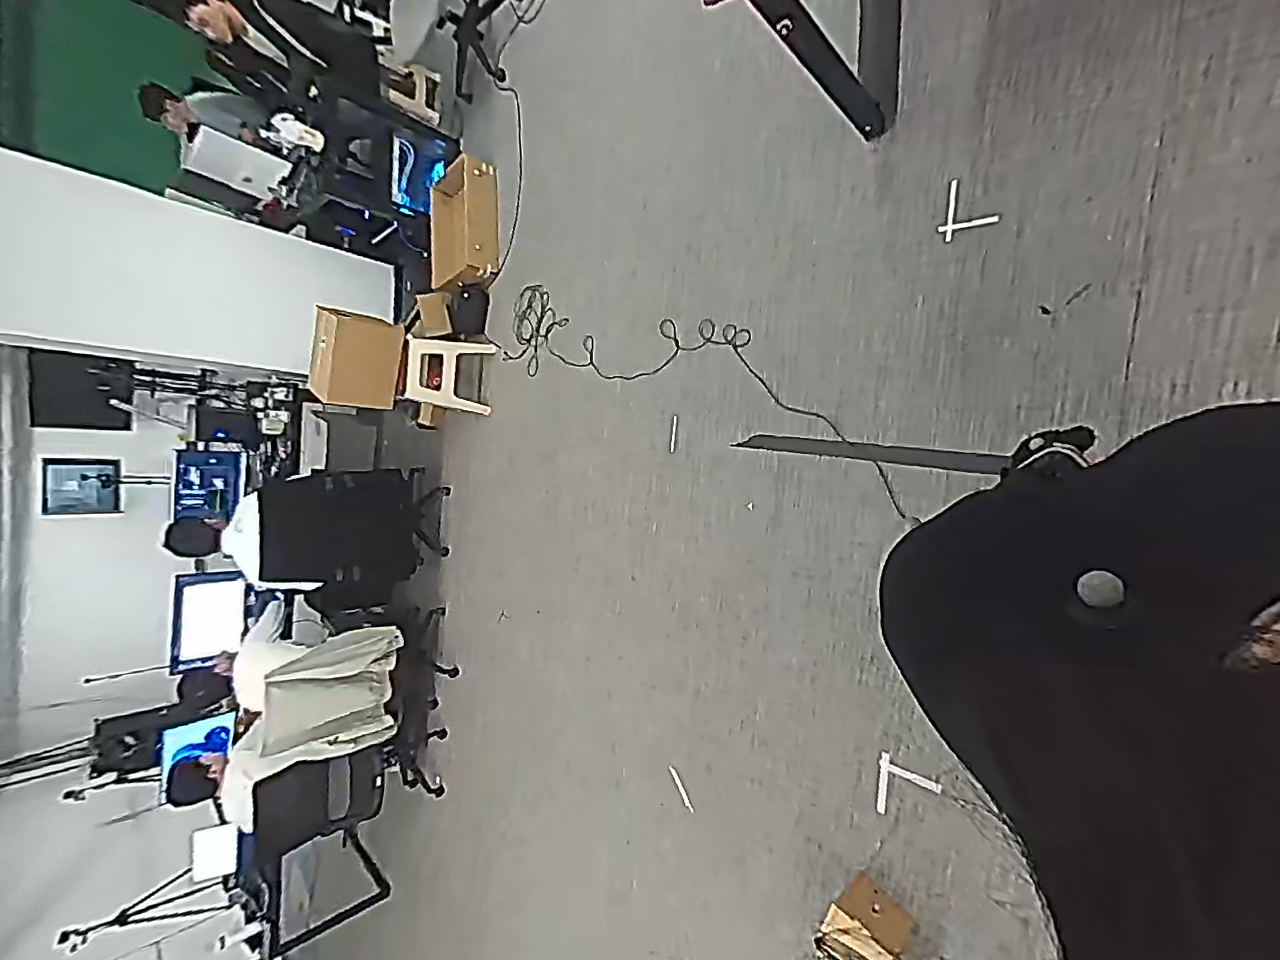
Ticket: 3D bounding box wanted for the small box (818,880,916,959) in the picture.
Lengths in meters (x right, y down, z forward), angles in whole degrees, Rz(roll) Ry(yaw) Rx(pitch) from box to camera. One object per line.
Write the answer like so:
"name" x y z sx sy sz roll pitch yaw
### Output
"small box" 0.612 1.232 1.446 0.168 0.176 0.179 28 108 42
